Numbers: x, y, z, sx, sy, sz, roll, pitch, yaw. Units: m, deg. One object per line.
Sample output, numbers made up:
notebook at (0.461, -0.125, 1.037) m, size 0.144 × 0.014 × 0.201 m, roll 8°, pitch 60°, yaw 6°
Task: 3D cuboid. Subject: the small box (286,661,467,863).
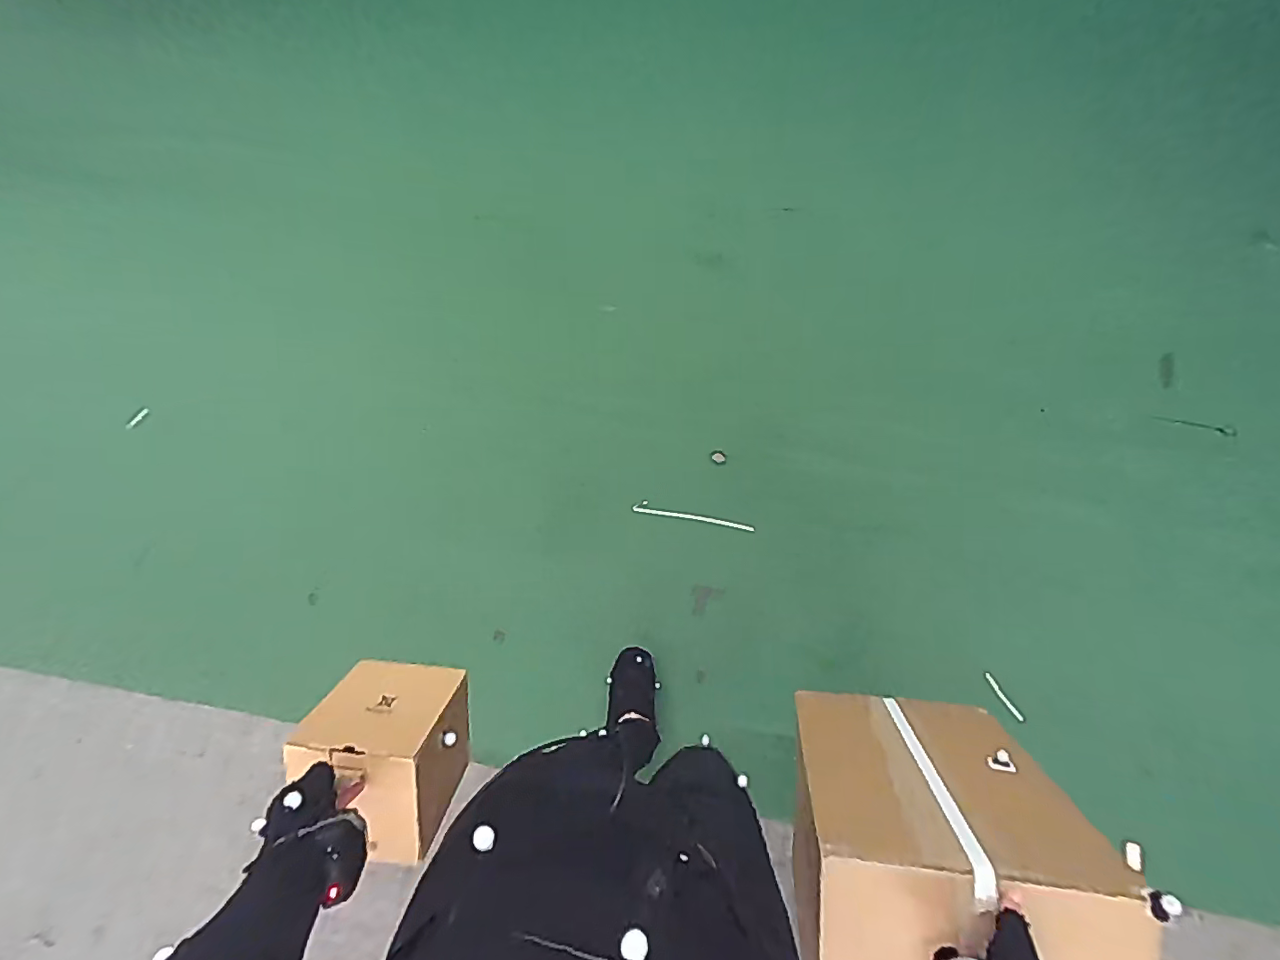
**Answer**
small box at (-0.353, 0.382, 0.754) m, size 0.168 × 0.179 × 0.176 m, roll 5°, pitch 107°, yaw 2°
